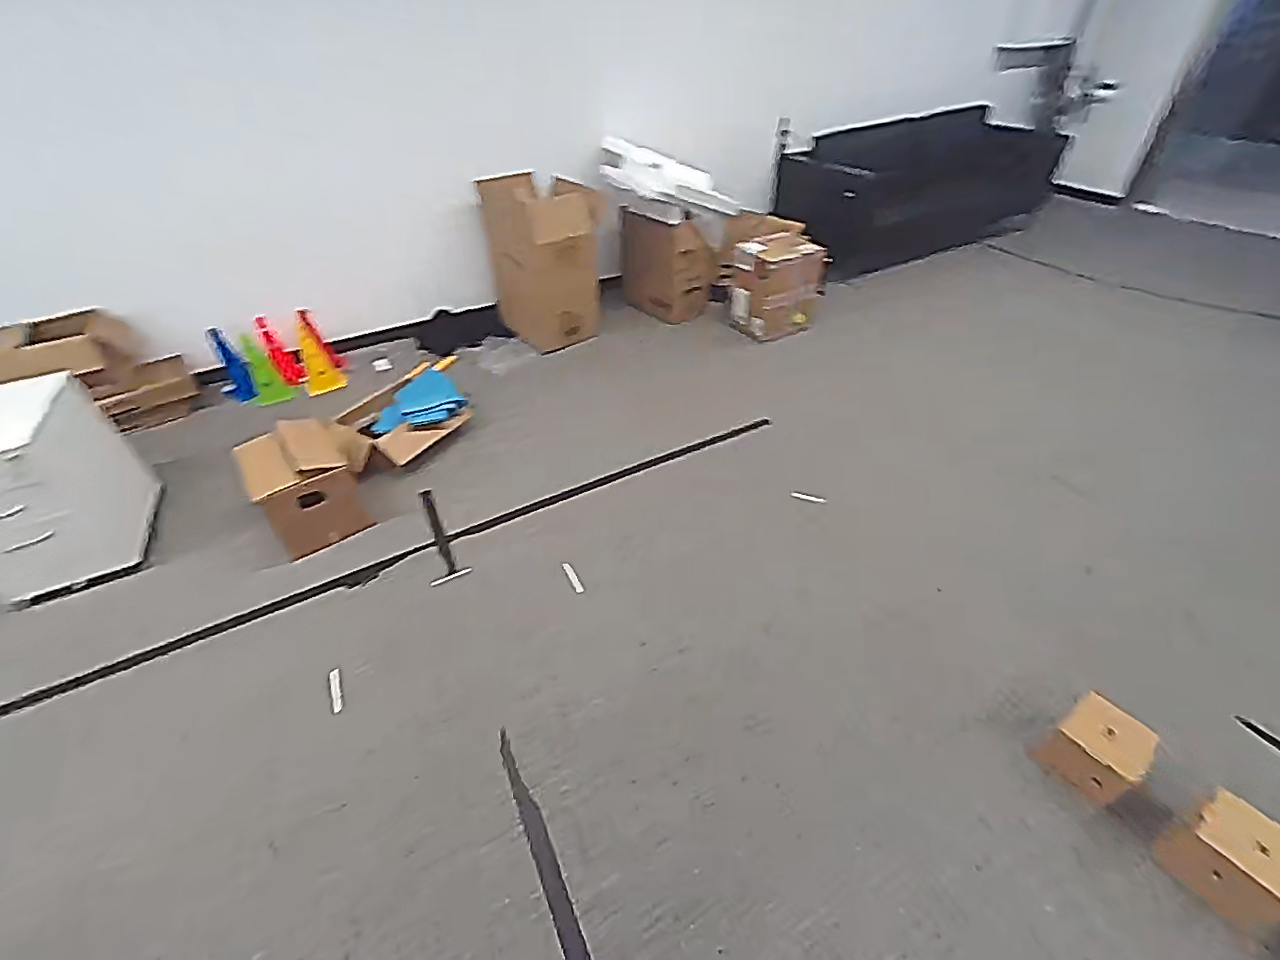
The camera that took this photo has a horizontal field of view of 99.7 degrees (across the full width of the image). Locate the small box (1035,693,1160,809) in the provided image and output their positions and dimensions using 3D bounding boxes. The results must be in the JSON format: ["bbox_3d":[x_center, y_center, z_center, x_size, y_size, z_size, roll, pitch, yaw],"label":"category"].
[{"bbox_3d":[1.151,0.691,1.375,0.179,0.176,0.168,-27,47,-27],"label":"small box"}]

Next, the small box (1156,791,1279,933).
[{"bbox_3d":[1.307,0.840,1.190,0.168,0.176,0.179,-27,46,-25],"label":"small box"}]
